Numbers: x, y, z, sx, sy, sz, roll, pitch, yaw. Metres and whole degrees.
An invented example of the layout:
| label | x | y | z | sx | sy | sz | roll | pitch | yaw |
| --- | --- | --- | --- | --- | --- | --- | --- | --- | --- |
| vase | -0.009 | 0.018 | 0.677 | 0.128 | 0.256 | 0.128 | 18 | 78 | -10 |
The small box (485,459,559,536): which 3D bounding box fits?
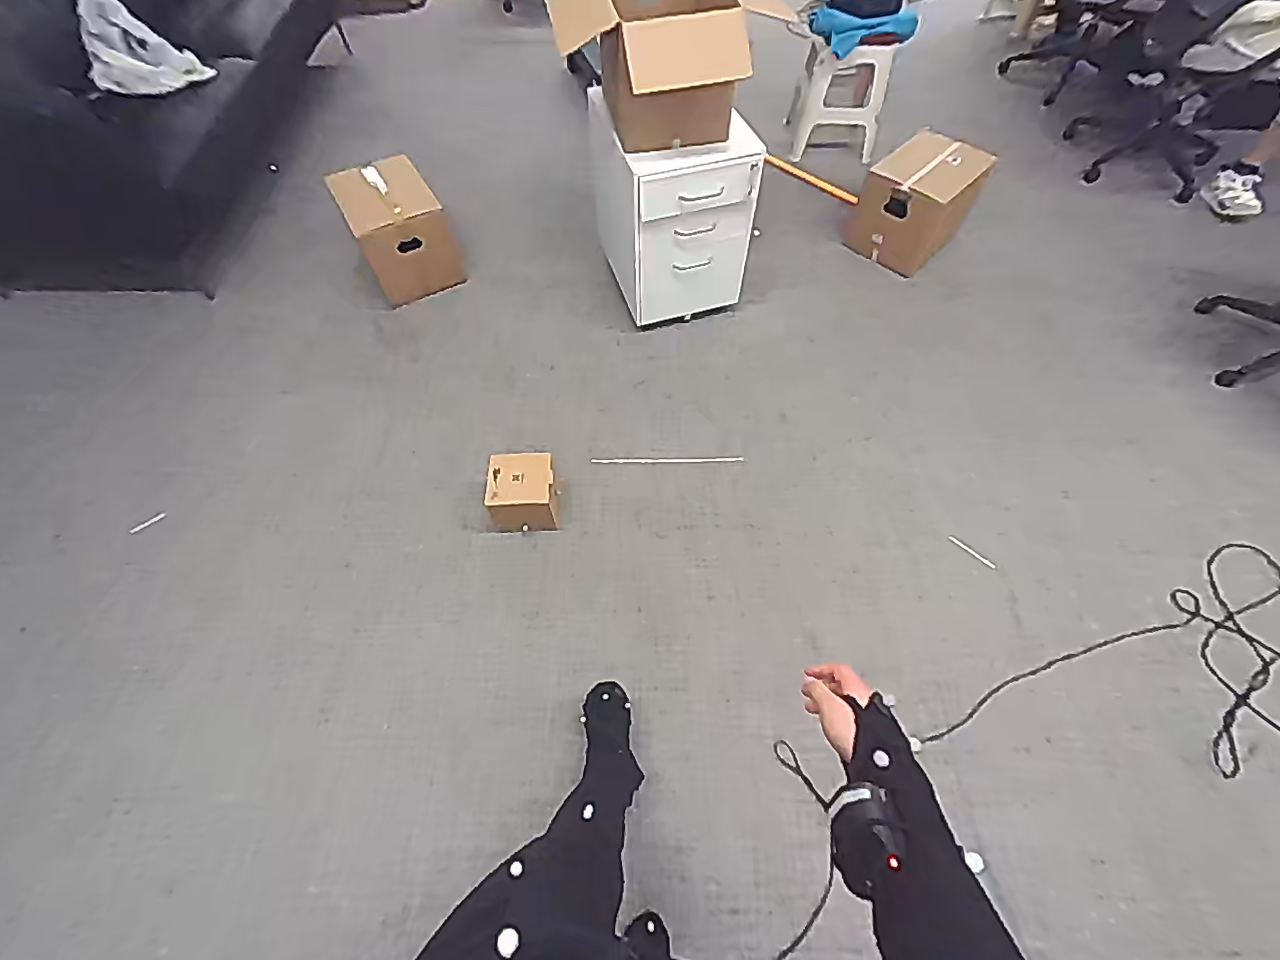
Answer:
| label | x | y | z | sx | sy | sz | roll | pitch | yaw |
| --- | --- | --- | --- | --- | --- | --- | --- | --- | --- |
| small box | -0.333 | 0.053 | 1.566 | 0.179 | 0.176 | 0.168 | -2 | 58 | 0 |
